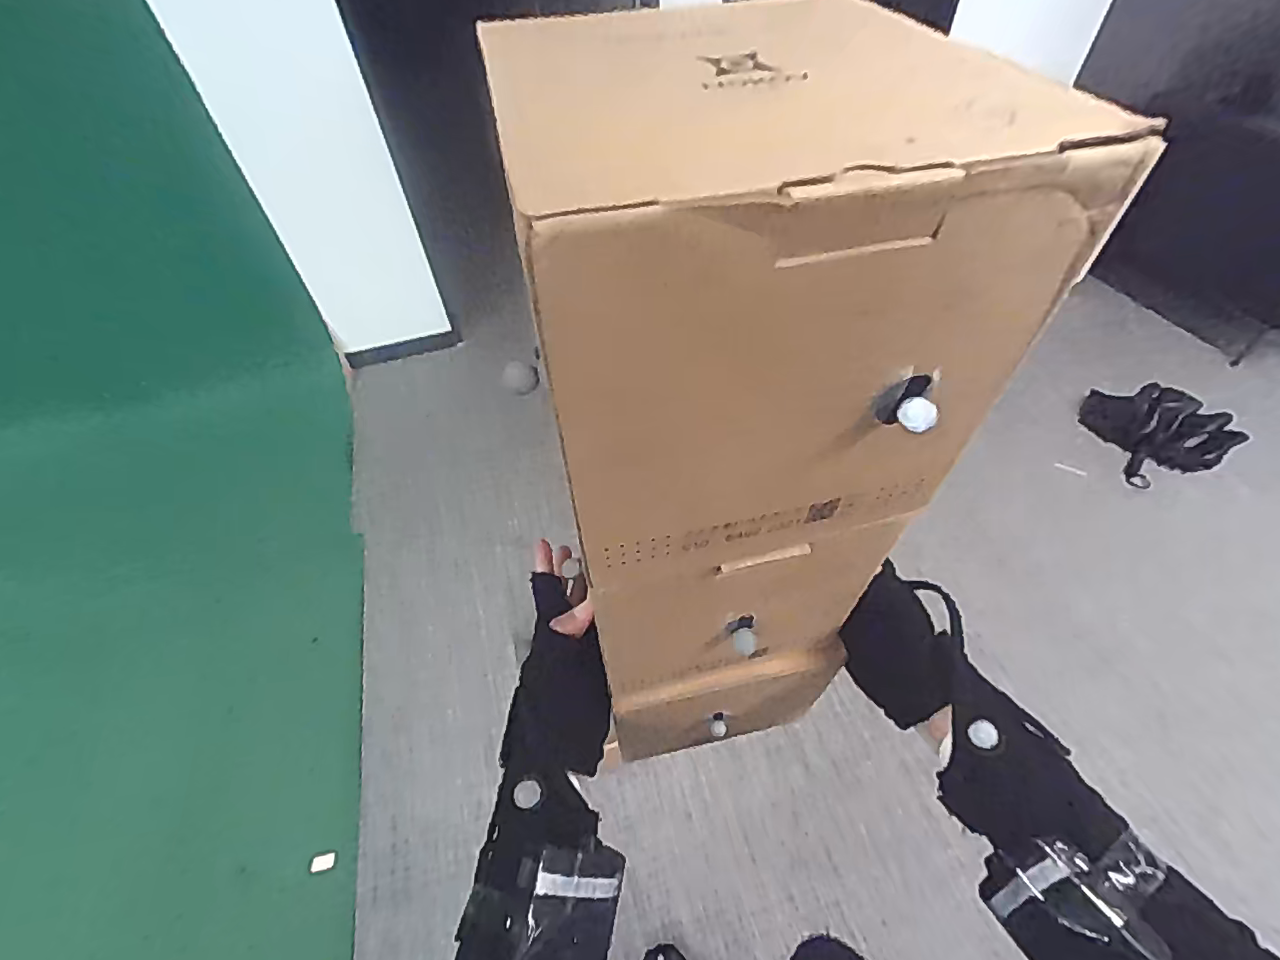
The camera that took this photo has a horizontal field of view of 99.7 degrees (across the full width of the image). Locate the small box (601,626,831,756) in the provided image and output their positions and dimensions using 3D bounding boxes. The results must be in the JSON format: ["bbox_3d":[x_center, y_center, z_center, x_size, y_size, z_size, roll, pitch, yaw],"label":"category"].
[{"bbox_3d":[0.050,0.143,0.515,0.179,0.176,0.168,-10,51,-5],"label":"small box"}]

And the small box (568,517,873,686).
[{"bbox_3d":[0.034,0.033,0.399,0.168,0.176,0.179,-14,52,-8],"label":"small box"}]

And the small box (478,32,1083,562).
[{"bbox_3d":[0.030,-0.078,0.254,0.168,0.176,0.179,-11,51,-8],"label":"small box"}]
